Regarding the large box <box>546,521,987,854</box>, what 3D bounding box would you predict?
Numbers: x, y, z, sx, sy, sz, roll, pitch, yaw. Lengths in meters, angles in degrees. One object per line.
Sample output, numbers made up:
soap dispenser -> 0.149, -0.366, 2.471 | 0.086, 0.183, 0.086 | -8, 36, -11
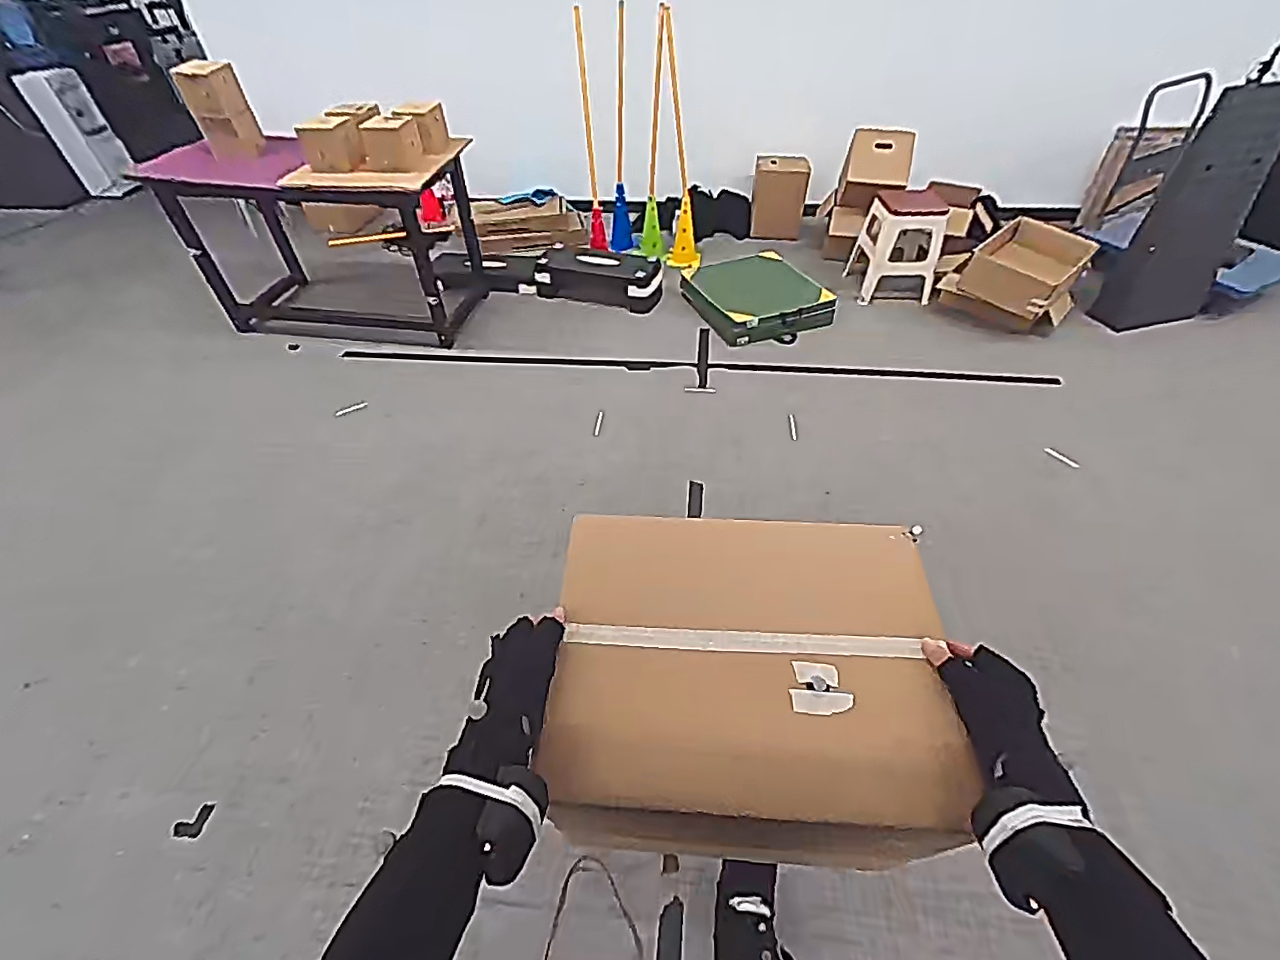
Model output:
large box -> 0.119, 0.268, 0.692 | 0.408, 0.320, 0.320 | 2, 50, 3
